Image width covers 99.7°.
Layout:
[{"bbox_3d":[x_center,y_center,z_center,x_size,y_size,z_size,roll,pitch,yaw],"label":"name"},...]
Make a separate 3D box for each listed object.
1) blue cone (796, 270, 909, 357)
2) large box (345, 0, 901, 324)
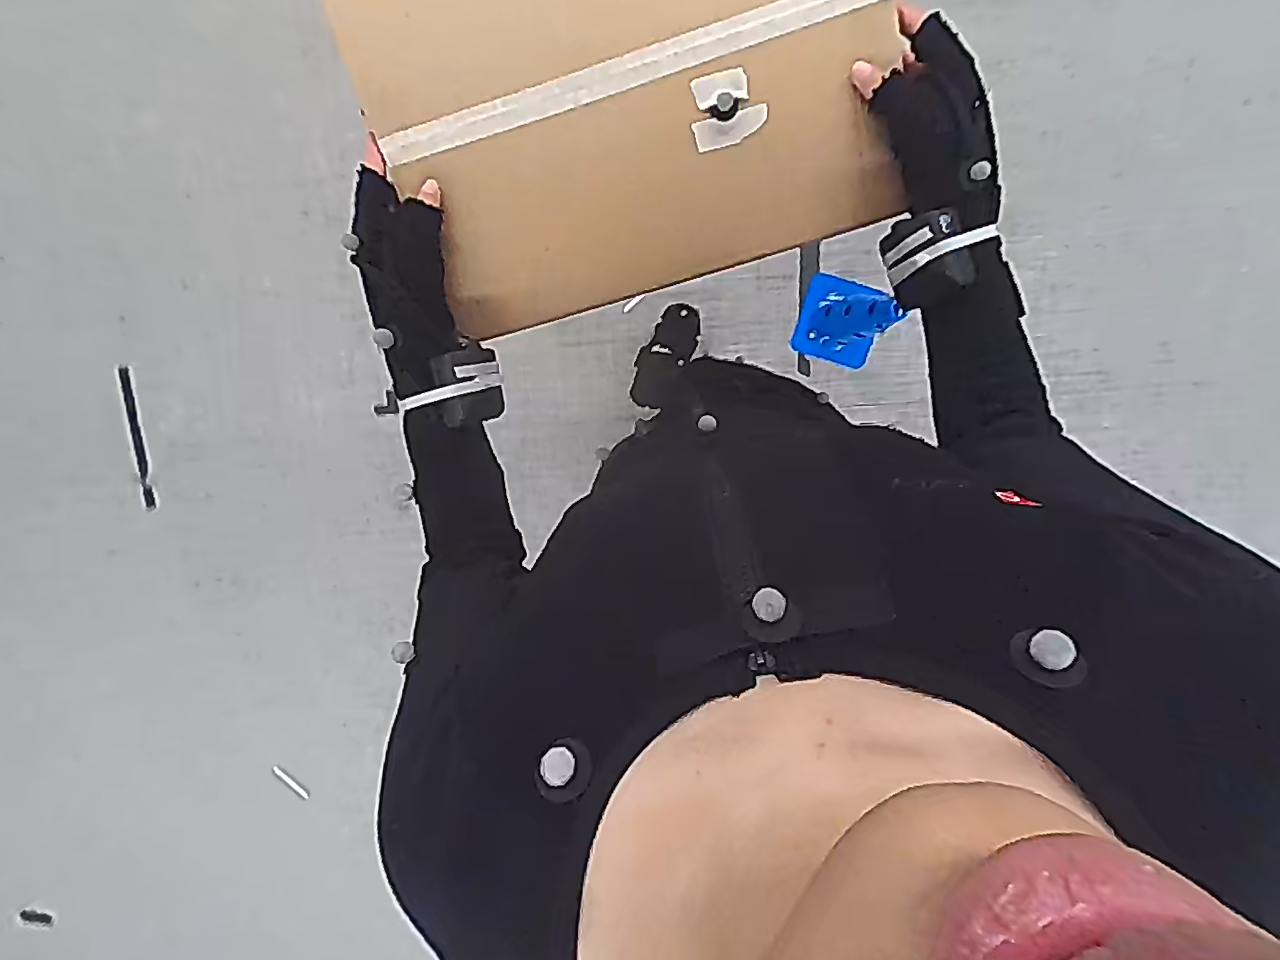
[{"bbox_3d":[0.502,-0.389,1.219,0.193,0.380,0.192,18,102,-2],"label":"blue cone"},{"bbox_3d":[-0.011,-0.377,0.568,0.408,0.320,0.320,-15,109,5],"label":"large box"}]
